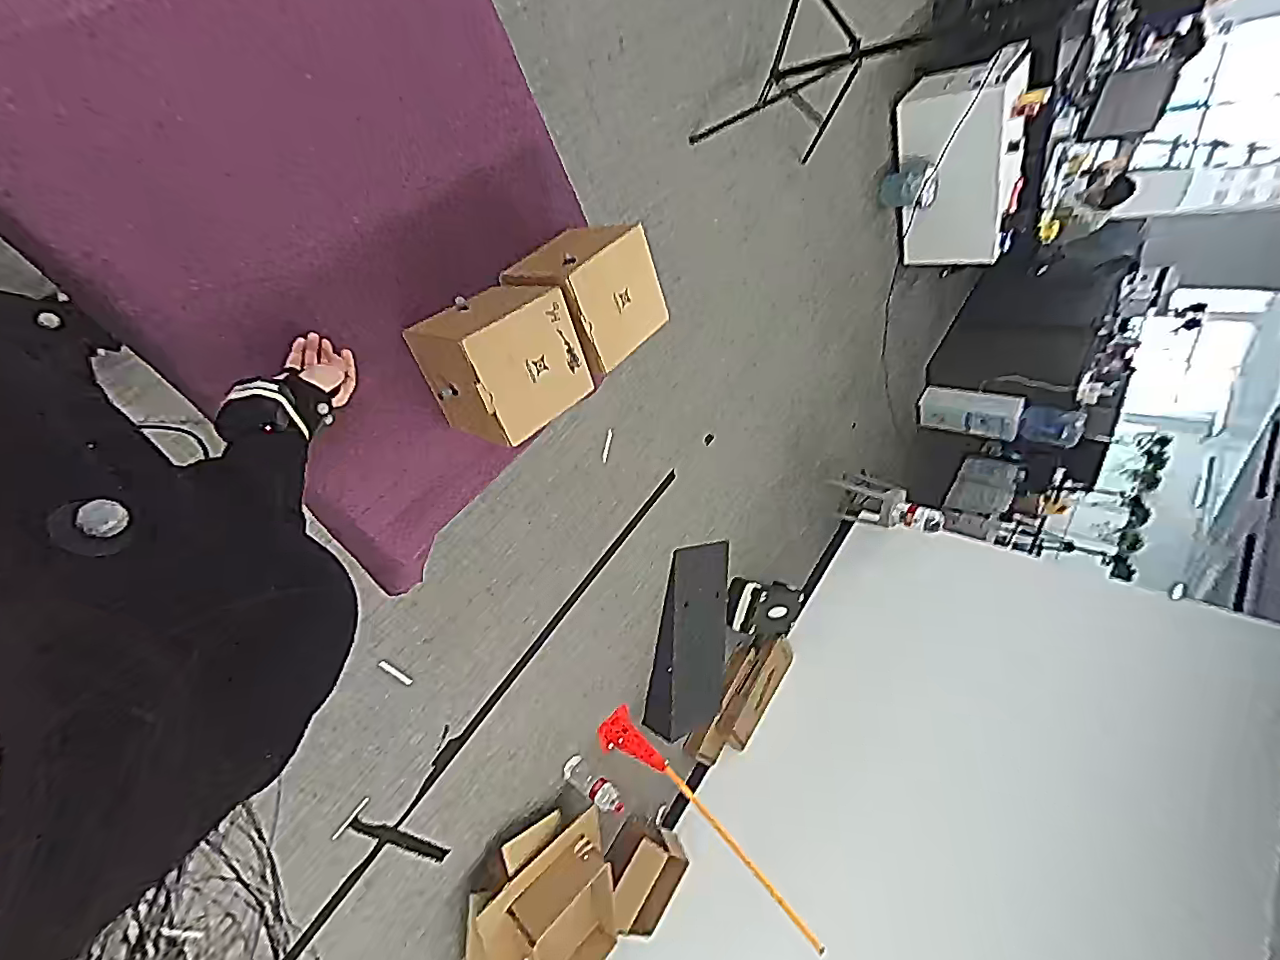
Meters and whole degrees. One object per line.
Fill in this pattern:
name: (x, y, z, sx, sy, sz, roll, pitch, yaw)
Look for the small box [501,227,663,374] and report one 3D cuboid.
small box: (-0.094, -0.301, 0.897, 0.179, 0.176, 0.168, -48, 135, -27)
